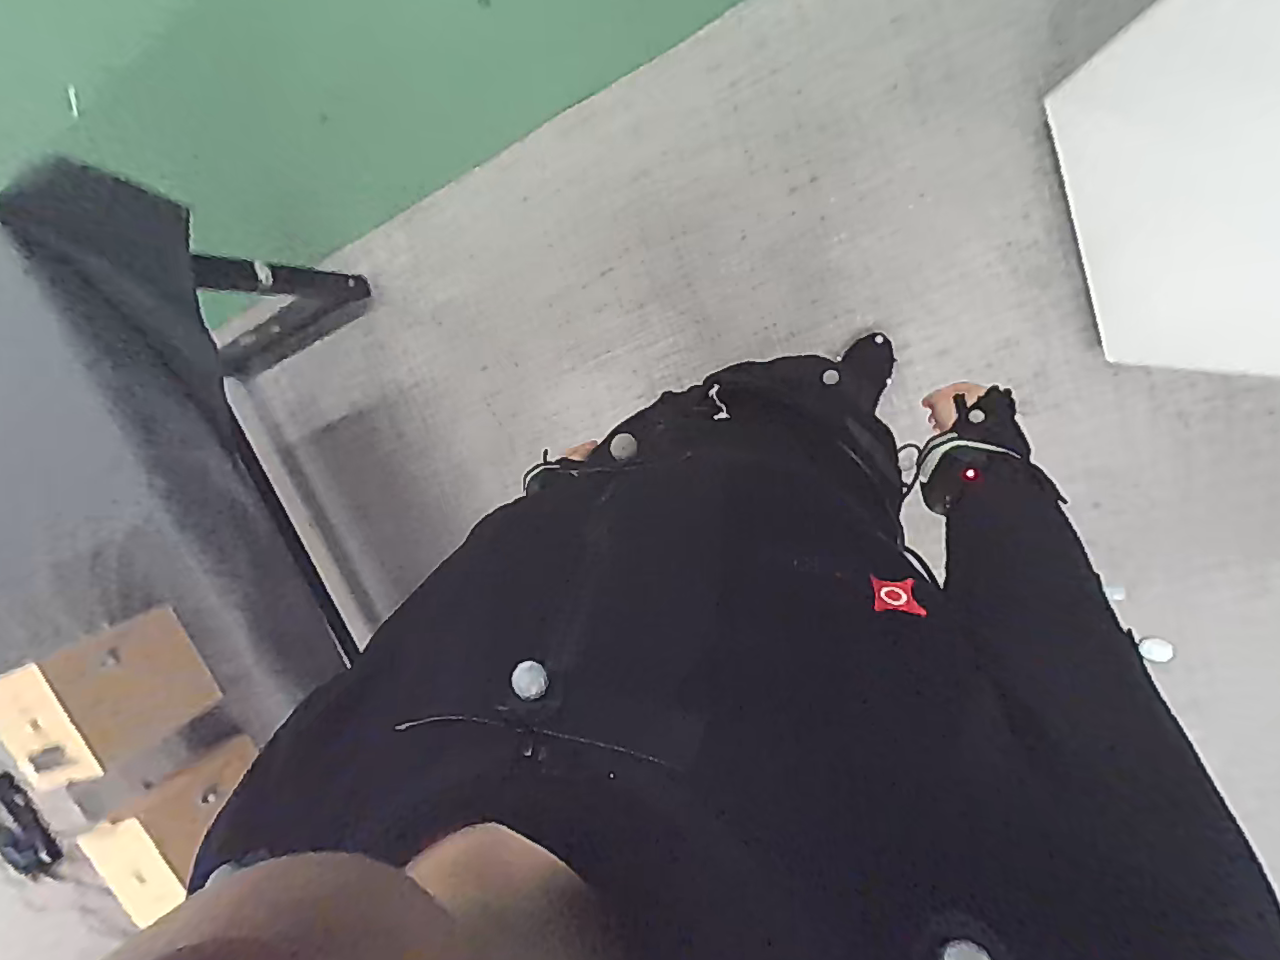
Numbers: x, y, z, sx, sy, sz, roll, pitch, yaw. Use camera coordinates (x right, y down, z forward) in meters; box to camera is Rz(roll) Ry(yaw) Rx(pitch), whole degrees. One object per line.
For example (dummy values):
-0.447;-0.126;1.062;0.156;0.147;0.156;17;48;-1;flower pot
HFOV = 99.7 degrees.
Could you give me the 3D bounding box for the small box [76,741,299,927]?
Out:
-0.689;0.537;0.842;0.168;0.176;0.179;-25;99;20;small box
